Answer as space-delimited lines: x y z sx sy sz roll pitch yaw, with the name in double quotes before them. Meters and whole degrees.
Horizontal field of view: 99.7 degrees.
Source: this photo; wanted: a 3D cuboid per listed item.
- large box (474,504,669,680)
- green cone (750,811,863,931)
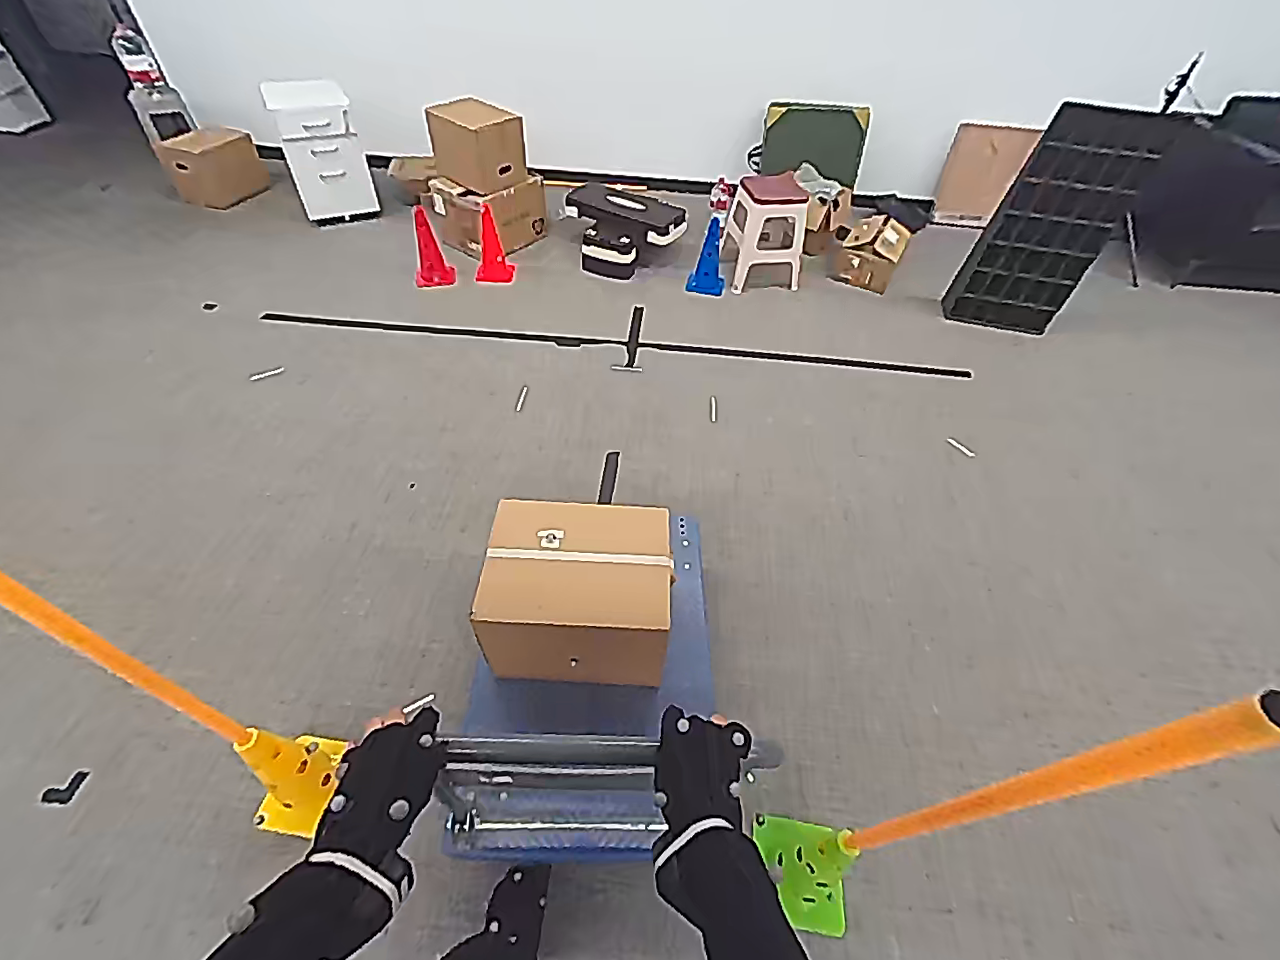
"large box" -0.140 0.277 1.308 0.408 0.320 0.320 3 49 0
"green cone" 0.362 0.765 1.097 0.202 0.368 0.200 9 48 3
